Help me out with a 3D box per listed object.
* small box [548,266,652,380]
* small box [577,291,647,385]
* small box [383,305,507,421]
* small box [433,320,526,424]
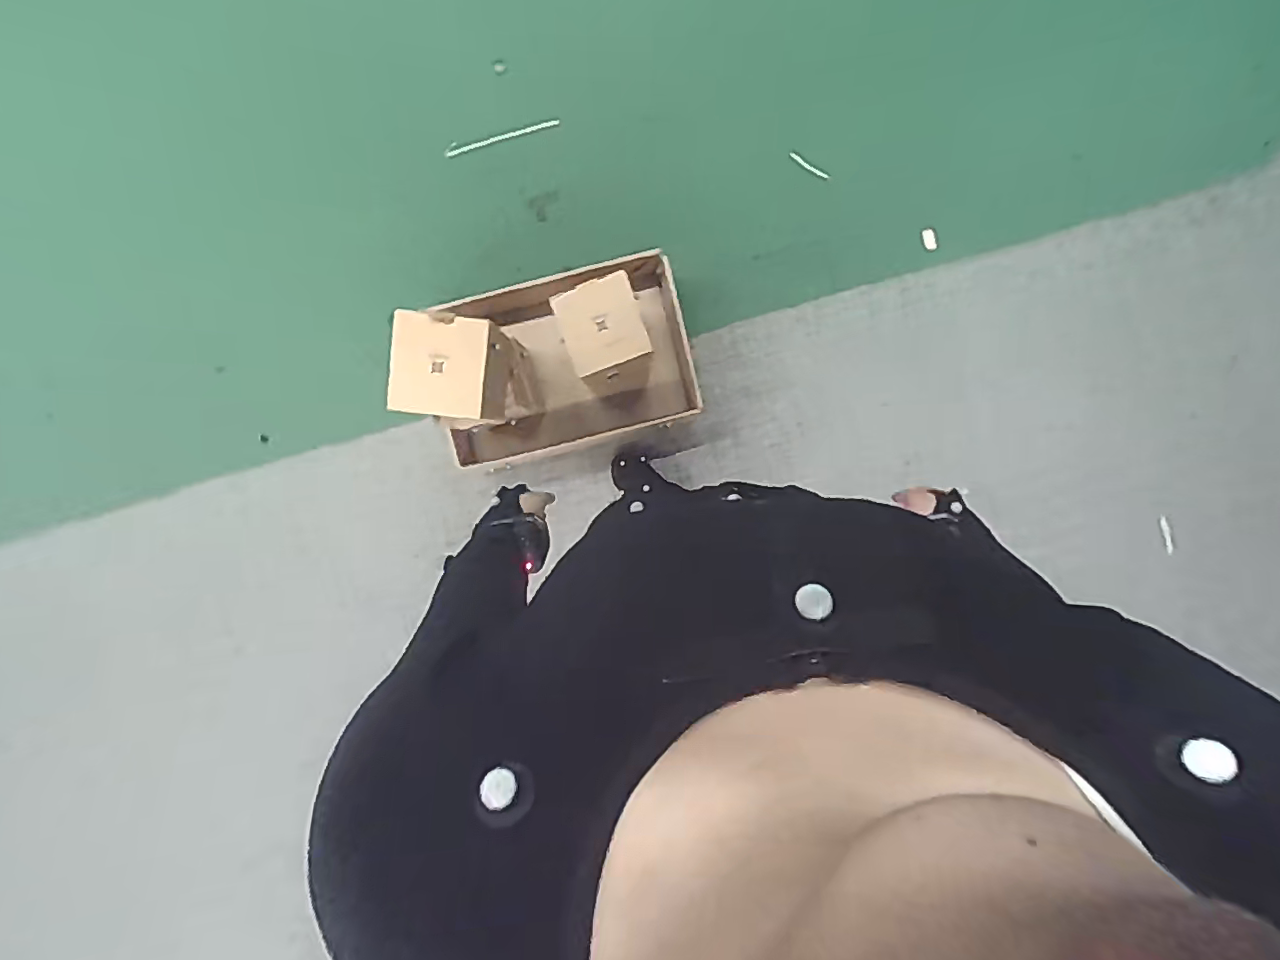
[{"bbox_3d":[-0.081,-0.327,1.161,0.168,0.176,0.179,-20,95,3],"label":"small box"},{"bbox_3d":[-0.079,-0.340,1.324,0.168,0.176,0.179,-11,94,2],"label":"small box"},{"bbox_3d":[-0.351,-0.207,1.001,0.168,0.176,0.179,6,93,-1],"label":"small box"},{"bbox_3d":[-0.357,-0.223,1.163,0.168,0.176,0.179,-16,93,0],"label":"small box"}]
